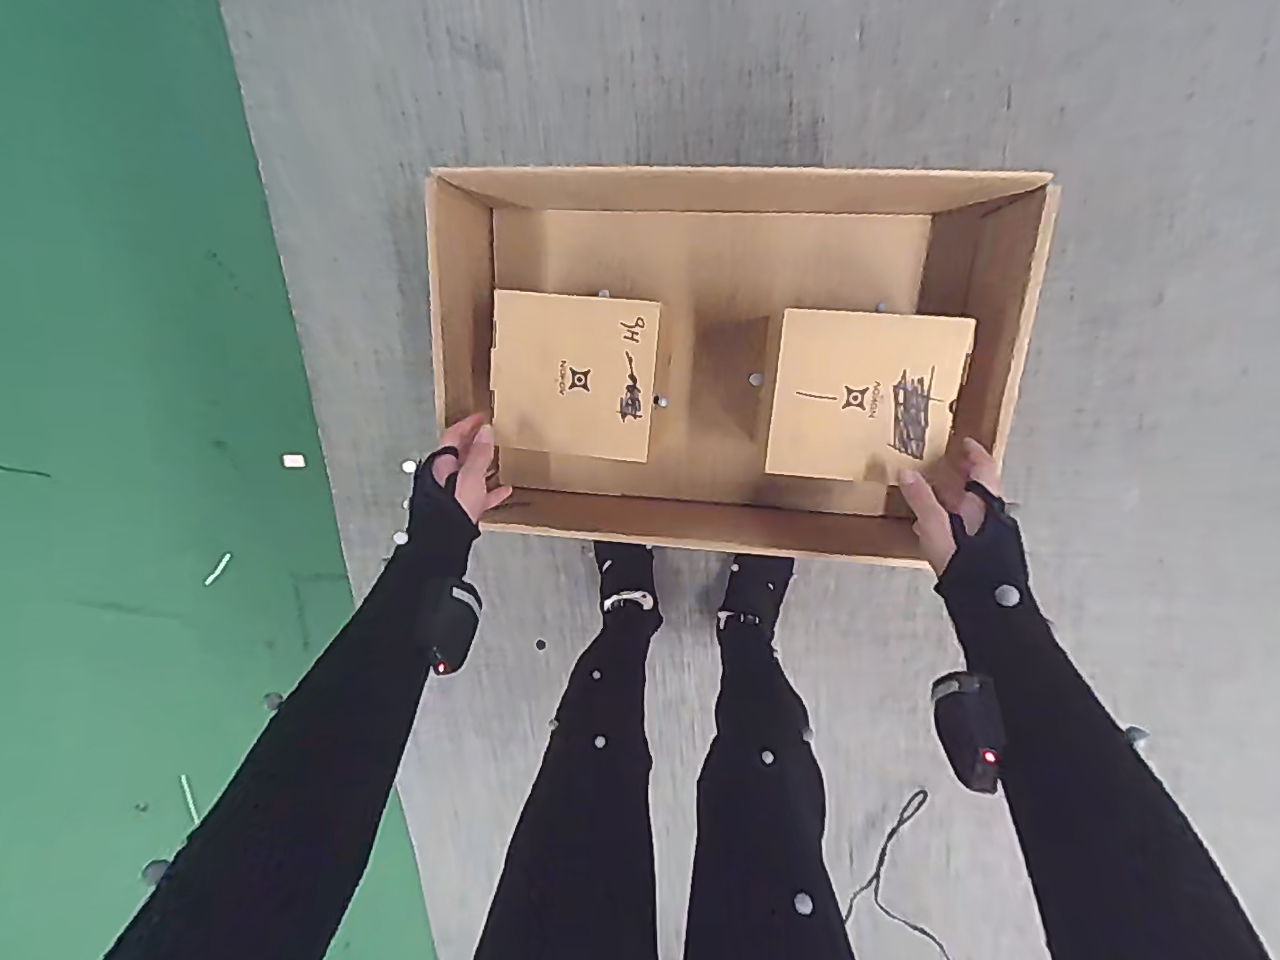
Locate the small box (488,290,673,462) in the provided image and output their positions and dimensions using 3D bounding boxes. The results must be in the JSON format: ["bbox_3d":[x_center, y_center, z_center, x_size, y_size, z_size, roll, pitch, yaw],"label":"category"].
[{"bbox_3d":[-0.062,-0.125,0.645,0.179,0.176,0.168,7,105,8],"label":"small box"}]
